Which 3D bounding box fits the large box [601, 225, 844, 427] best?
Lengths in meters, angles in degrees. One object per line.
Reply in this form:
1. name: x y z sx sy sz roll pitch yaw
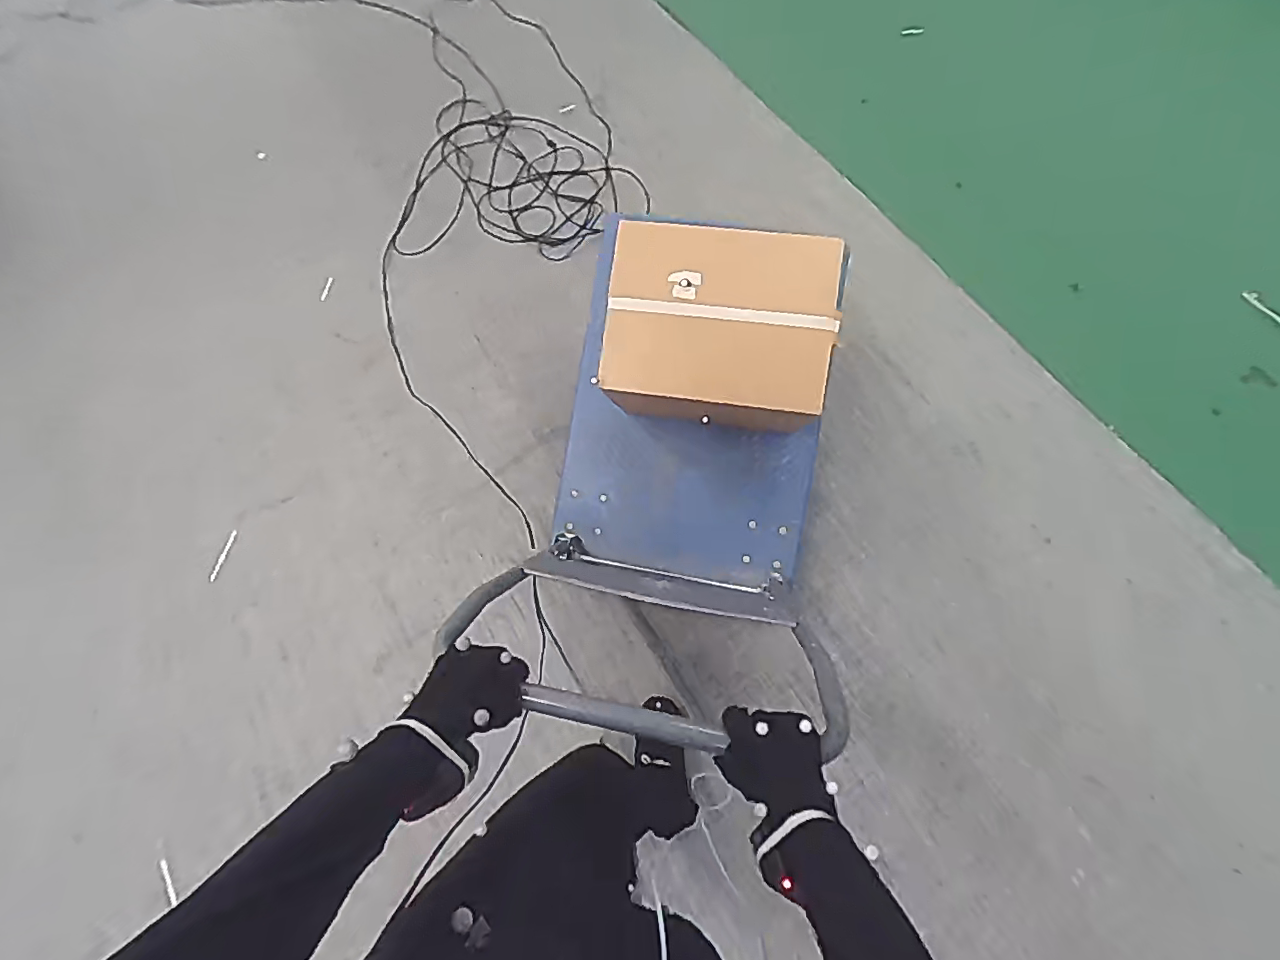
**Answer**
1. large box: 0.163 -0.290 1.105 0.408 0.320 0.320 8 90 8
